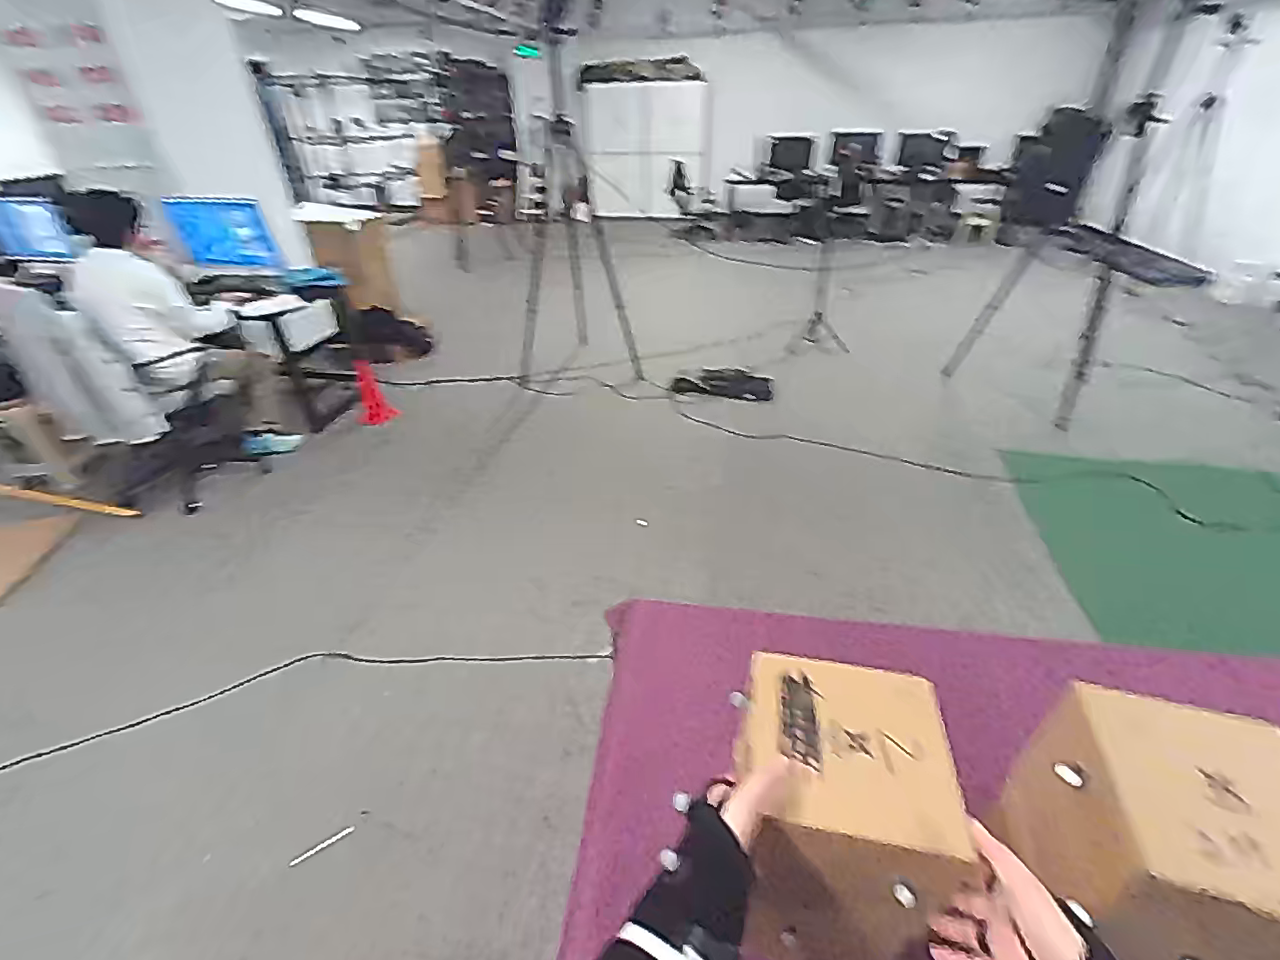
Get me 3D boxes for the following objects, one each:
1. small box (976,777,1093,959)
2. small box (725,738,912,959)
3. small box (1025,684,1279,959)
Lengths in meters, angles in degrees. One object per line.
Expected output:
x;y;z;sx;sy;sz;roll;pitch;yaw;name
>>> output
0.487;0.465;0.579;0.168;0.176;0.179;9;37;15;small box
0.195;0.437;0.631;0.179;0.176;0.168;5;36;12;small box
0.484;0.327;0.490;0.168;0.176;0.179;9;37;17;small box
